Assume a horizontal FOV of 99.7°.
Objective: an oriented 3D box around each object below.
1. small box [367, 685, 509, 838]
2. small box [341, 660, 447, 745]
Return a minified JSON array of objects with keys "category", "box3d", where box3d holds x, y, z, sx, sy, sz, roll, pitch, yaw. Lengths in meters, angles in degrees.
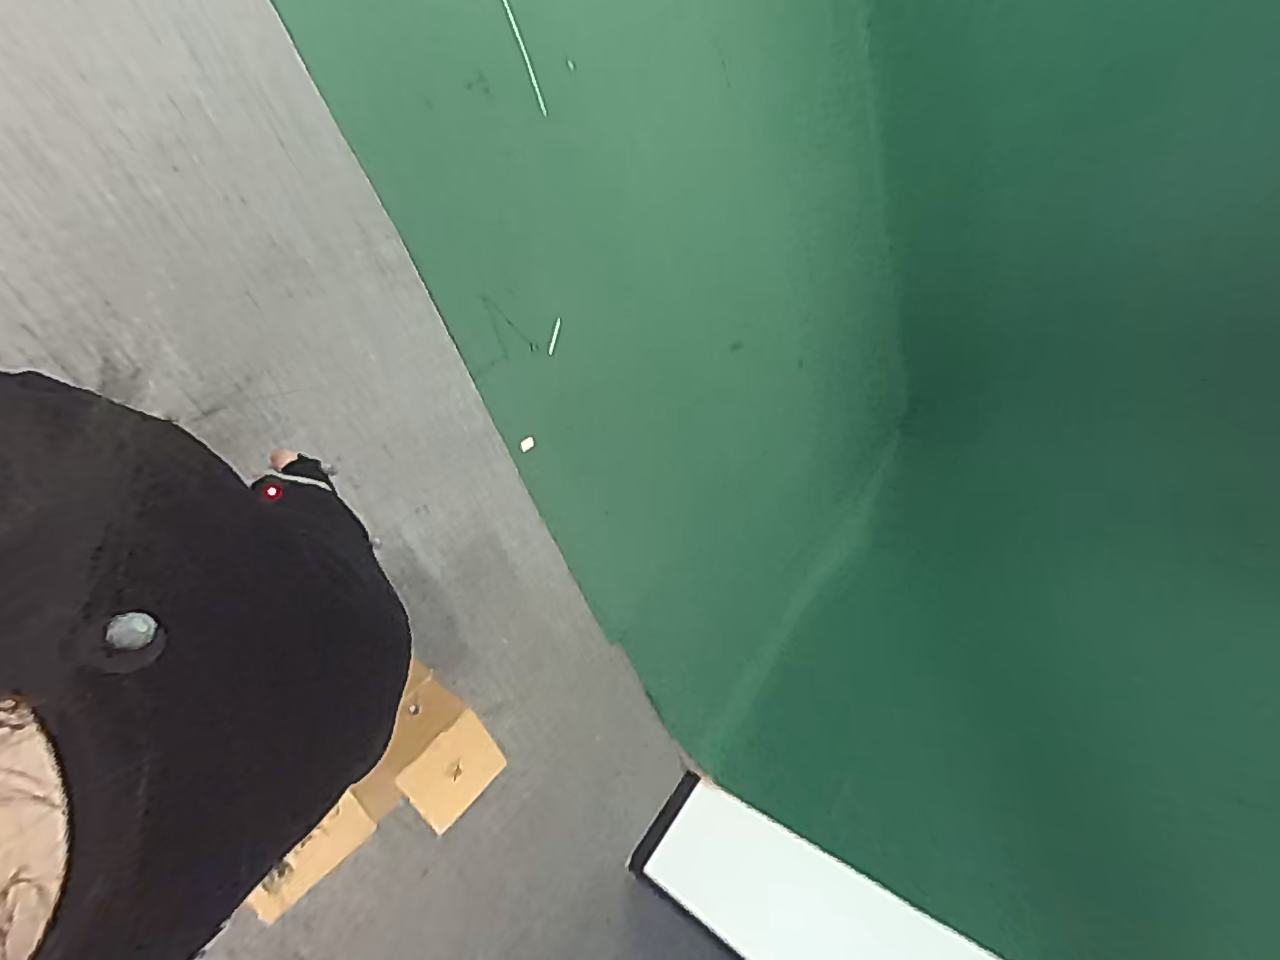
[{"category":"small box","box3d":[-0.394,0.537,1.056,0.168,0.176,0.179,-39,122,-35]},{"category":"small box","box3d":[-0.508,0.515,1.169,0.168,0.176,0.179,-38,123,-35]}]
